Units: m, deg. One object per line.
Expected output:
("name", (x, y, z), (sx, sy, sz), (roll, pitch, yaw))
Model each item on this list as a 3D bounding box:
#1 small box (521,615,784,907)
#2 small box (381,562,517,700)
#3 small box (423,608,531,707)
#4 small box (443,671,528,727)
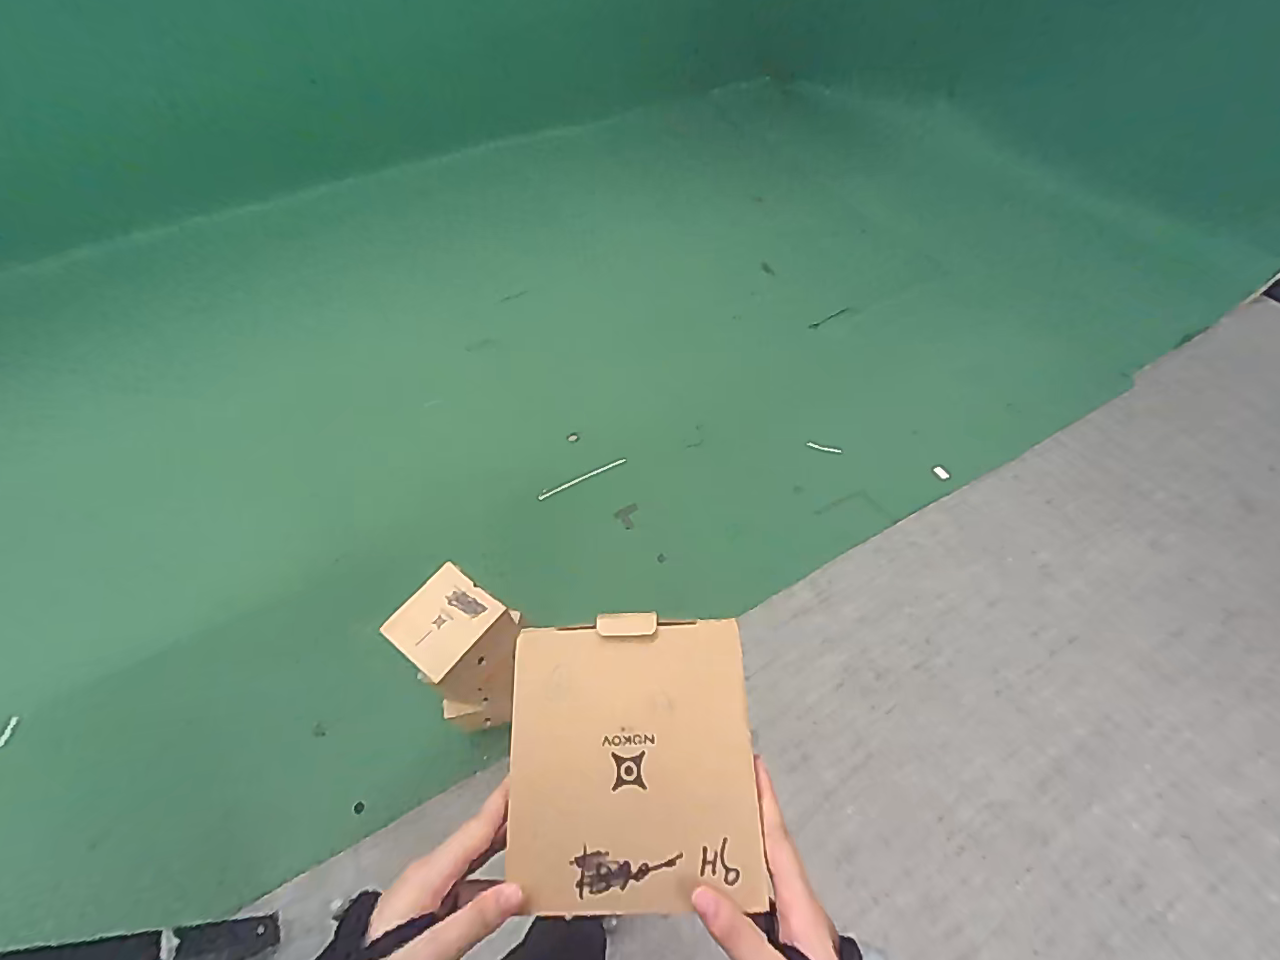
("small box", (0.010, 0.212, 0.438), (0.168, 0.176, 0.179), (-3, 68, 3))
("small box", (-0.361, 0.300, 1.064), (0.168, 0.176, 0.179), (32, 62, 20))
("small box", (-0.350, 0.391, 1.201), (0.168, 0.176, 0.179), (6, 55, 4))
("small box", (-0.377, 0.493, 1.328), (0.168, 0.176, 0.179), (-12, 55, -7))
